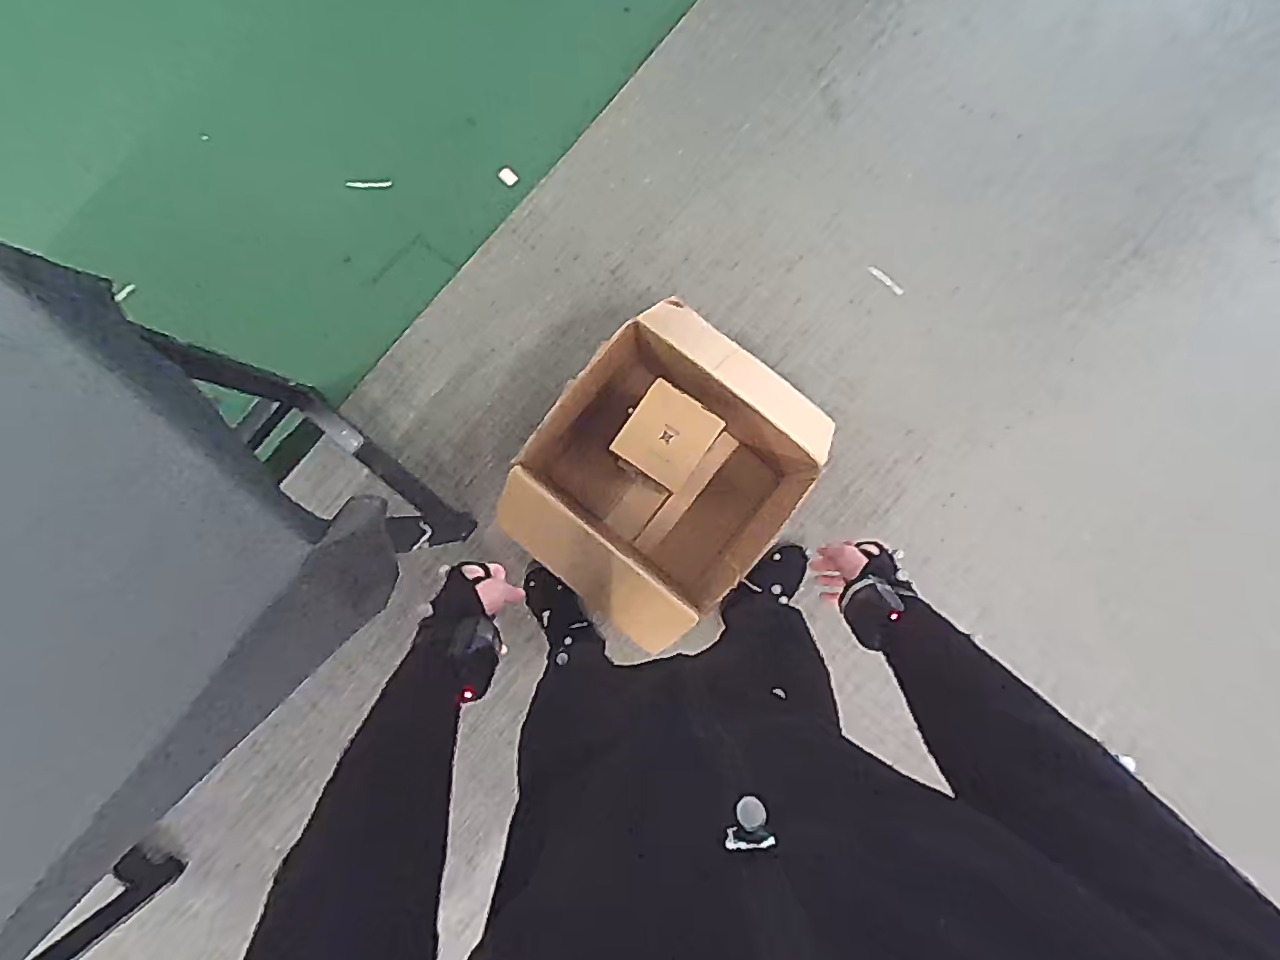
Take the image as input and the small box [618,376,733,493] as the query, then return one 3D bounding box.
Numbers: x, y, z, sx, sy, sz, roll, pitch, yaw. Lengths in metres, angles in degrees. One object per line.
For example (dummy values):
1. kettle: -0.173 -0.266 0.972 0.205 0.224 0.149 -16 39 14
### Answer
1. small box: 0.068 -0.088 1.140 0.168 0.176 0.179 34 90 1
